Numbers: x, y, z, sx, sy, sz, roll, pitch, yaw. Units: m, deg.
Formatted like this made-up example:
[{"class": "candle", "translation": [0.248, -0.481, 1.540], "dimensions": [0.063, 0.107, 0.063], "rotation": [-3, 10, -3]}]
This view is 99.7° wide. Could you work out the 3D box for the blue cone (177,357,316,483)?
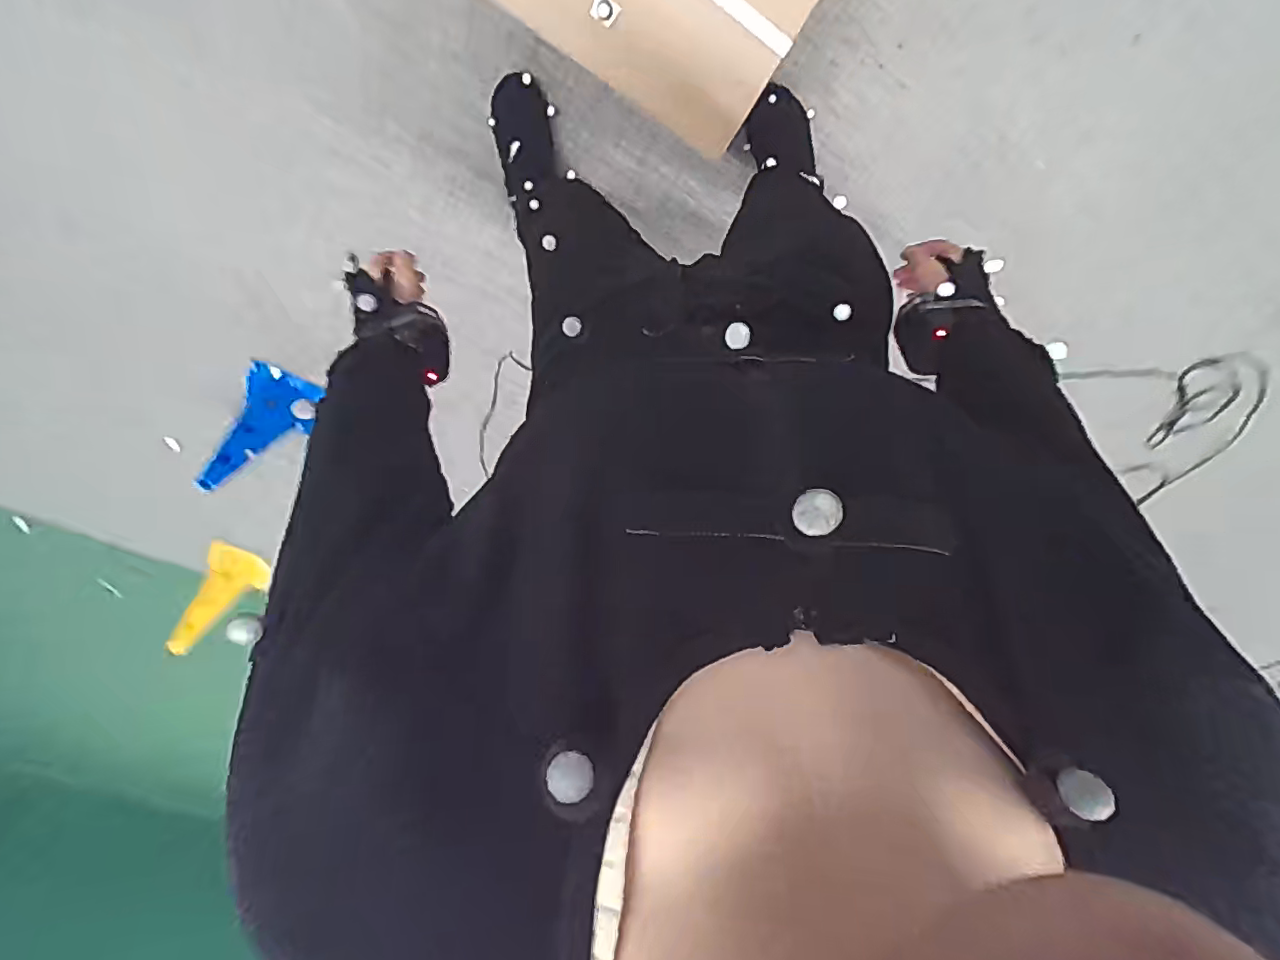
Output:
[{"class": "blue cone", "translation": [-1.010, -0.125, 1.367], "dimensions": [0.192, 0.380, 0.193], "rotation": [27, 127, -18]}]
